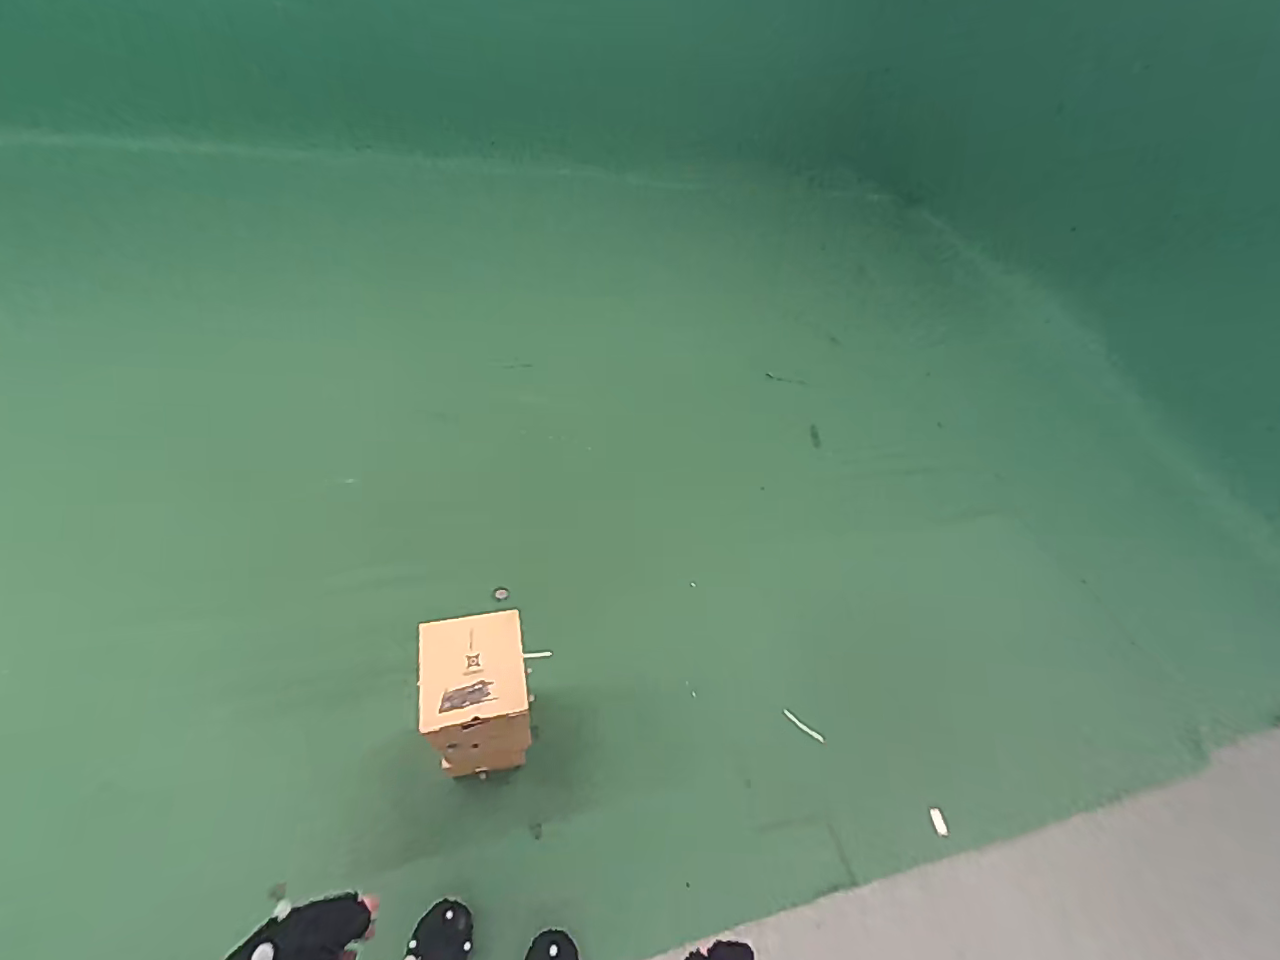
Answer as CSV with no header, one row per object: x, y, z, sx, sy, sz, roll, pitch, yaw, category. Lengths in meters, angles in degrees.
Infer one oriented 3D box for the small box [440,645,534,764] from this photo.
-0.305,0.445,1.082,0.168,0.176,0.179,-6,55,-15,small box

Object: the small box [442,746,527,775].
-0.337,0.533,1.193,0.168,0.176,0.179,-4,56,-12,small box

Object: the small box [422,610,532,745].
-0.281,0.351,0.948,0.168,0.176,0.179,-5,55,-15,small box
